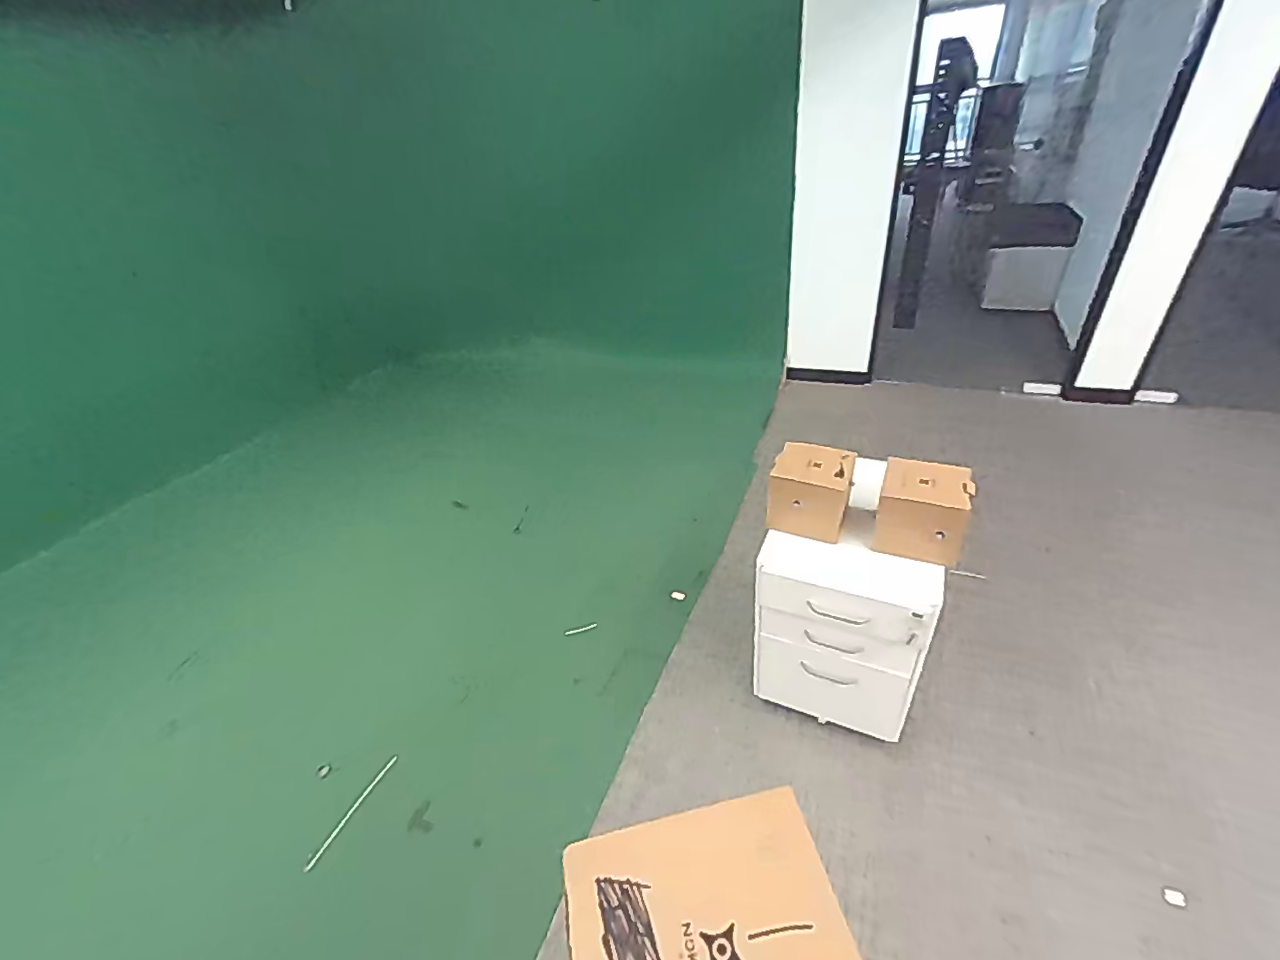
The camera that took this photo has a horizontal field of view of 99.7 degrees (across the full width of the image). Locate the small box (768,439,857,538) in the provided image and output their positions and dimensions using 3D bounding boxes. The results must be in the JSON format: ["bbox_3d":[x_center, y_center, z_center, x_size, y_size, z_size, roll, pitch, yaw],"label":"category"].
[{"bbox_3d":[0.423,0.022,1.340,0.179,0.176,0.168,13,41,25],"label":"small box"}]

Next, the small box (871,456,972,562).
[{"bbox_3d":[0.644,0.067,1.241,0.179,0.176,0.168,10,38,25],"label":"small box"}]
